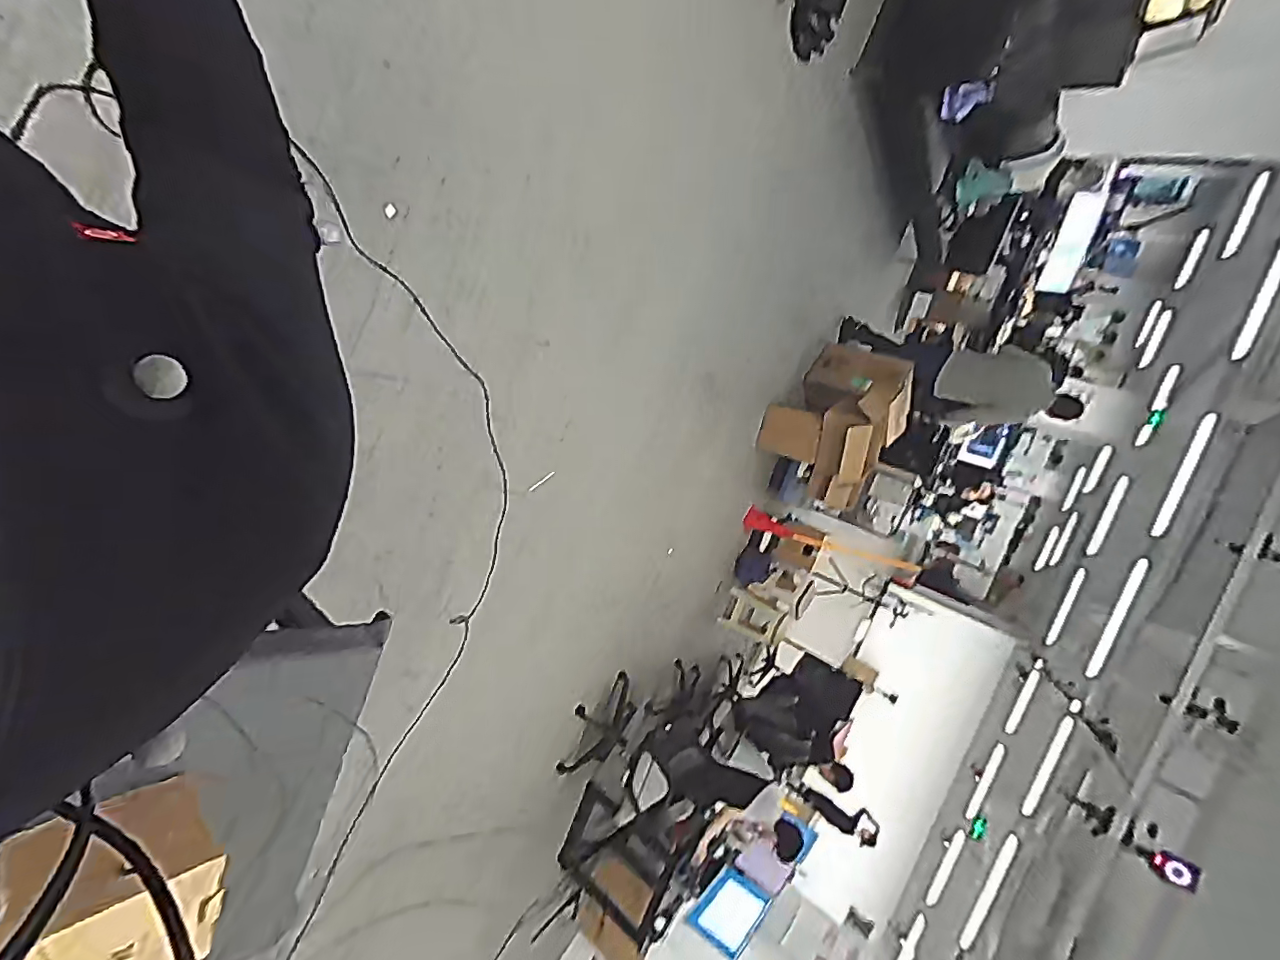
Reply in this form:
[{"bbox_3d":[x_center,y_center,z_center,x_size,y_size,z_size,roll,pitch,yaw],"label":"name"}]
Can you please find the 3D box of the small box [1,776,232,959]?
[{"bbox_3d":[-0.651,0.516,0.676,0.179,0.176,0.168,-1,109,-54],"label":"small box"}]
